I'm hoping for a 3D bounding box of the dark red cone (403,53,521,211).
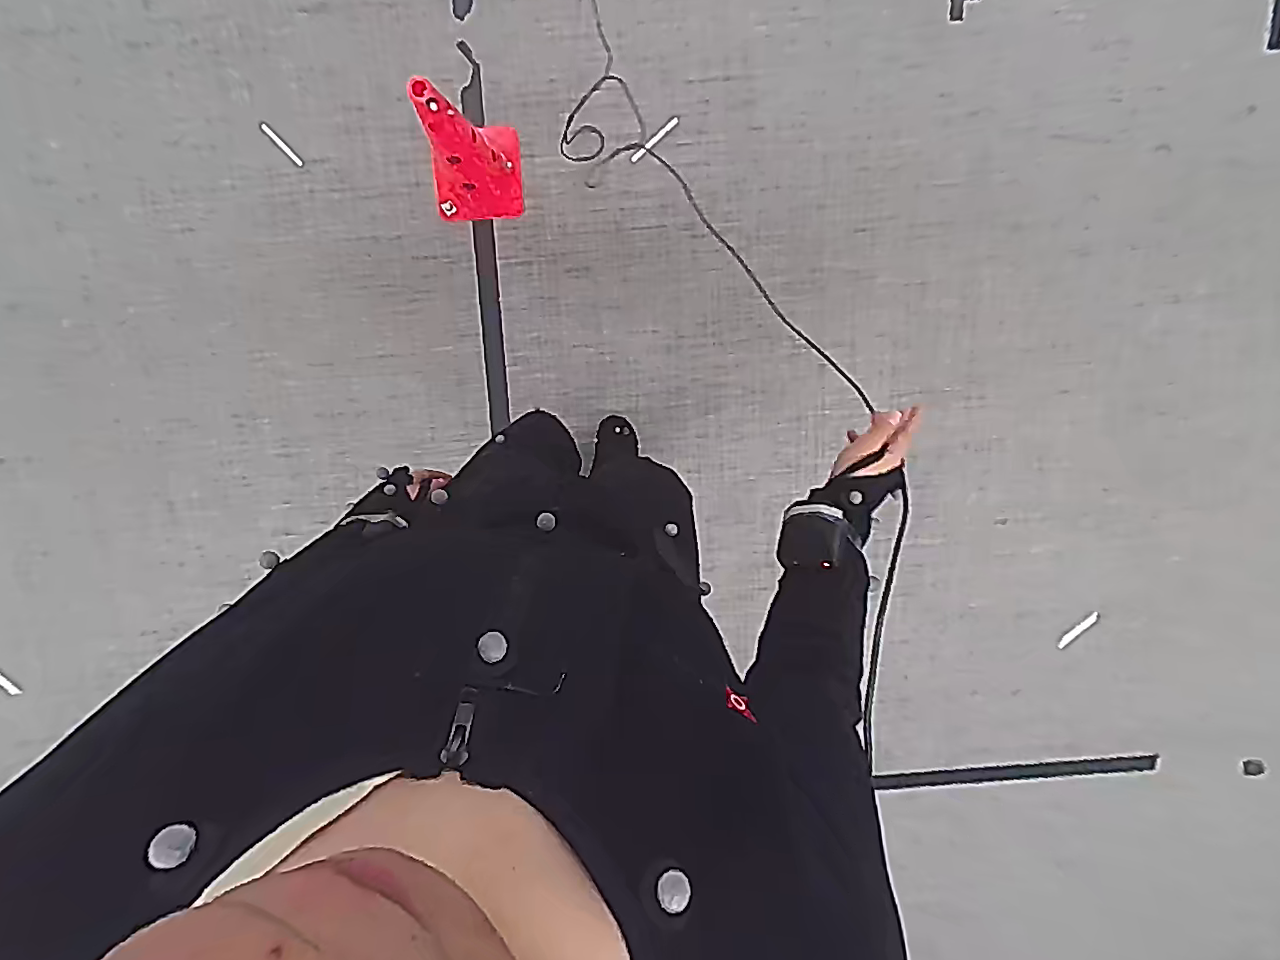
[{"bbox_3d":[-0.369,-0.688,1.057,0.201,0.394,0.202,-4,99,-1],"label":"dark red cone"}]
